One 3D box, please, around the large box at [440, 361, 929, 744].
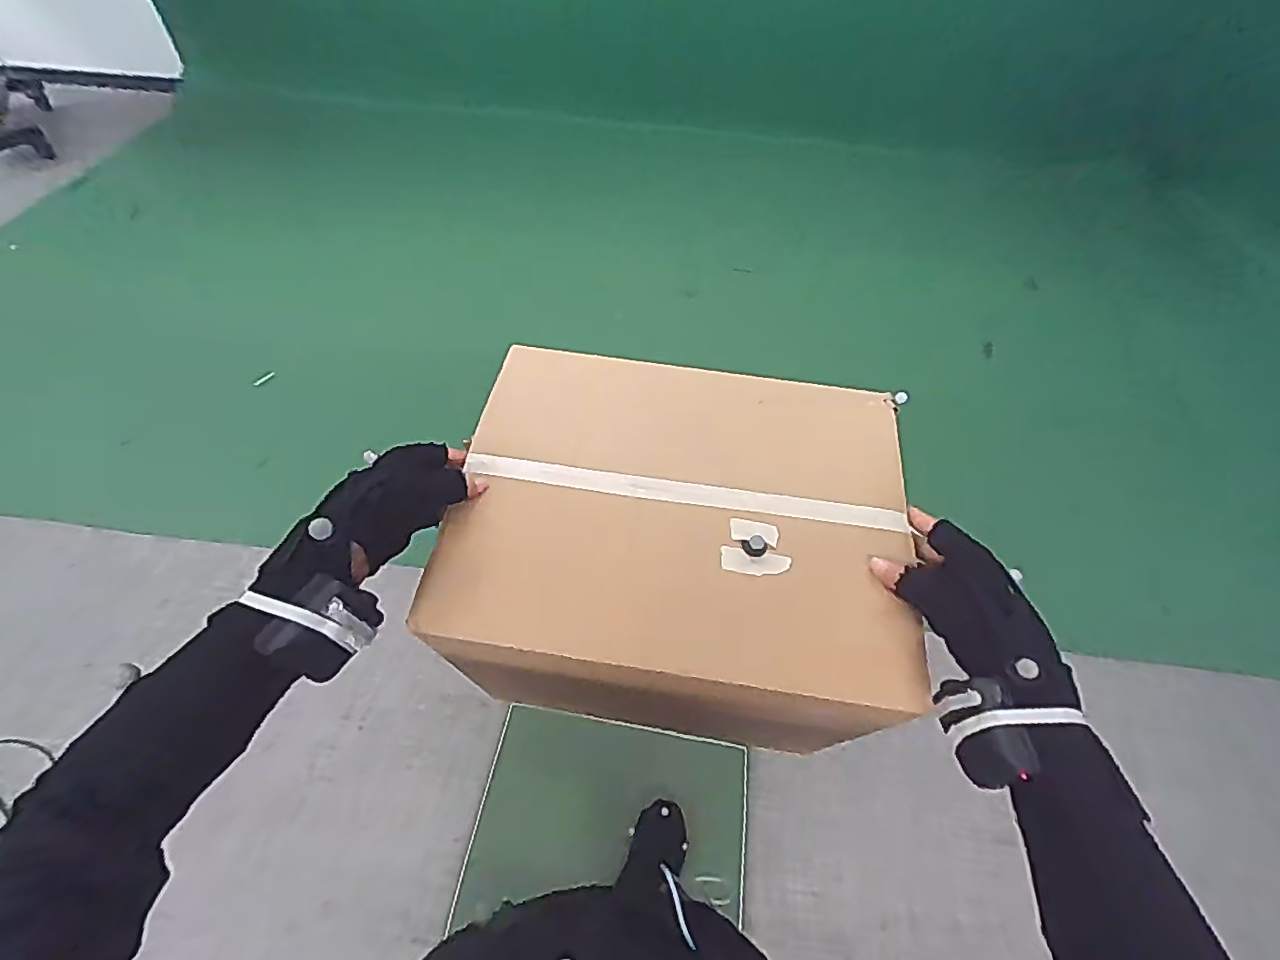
[{"bbox_3d":[0.044,0.098,0.634,0.408,0.320,0.320,8,59,3],"label":"large box"}]
